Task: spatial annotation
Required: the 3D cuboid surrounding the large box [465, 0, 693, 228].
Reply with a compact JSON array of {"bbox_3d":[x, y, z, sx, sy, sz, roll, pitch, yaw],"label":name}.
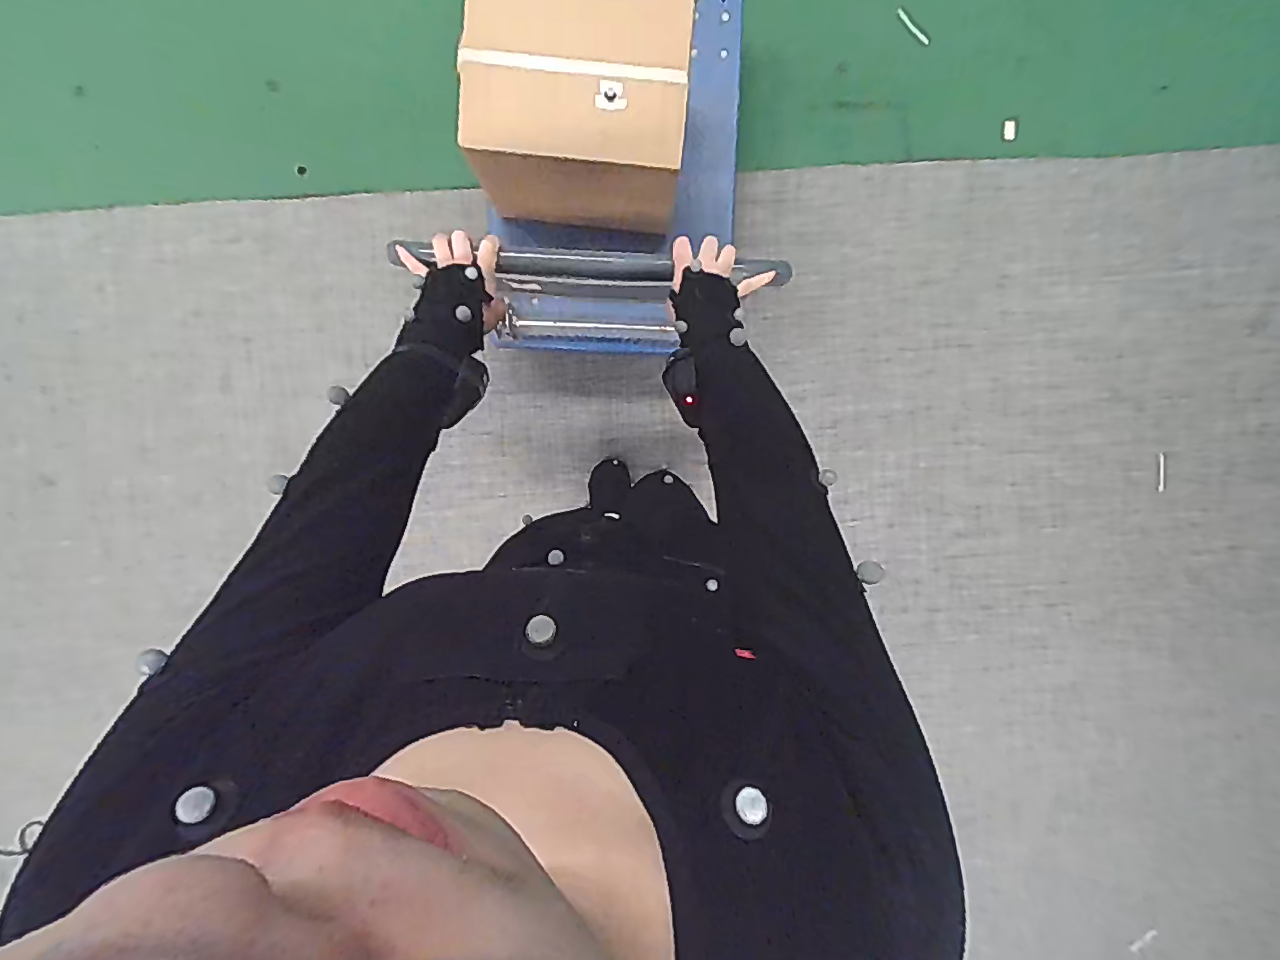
[{"bbox_3d":[-0.119,-0.756,1.129,0.408,0.320,0.320,5,94,-3],"label":"large box"}]
